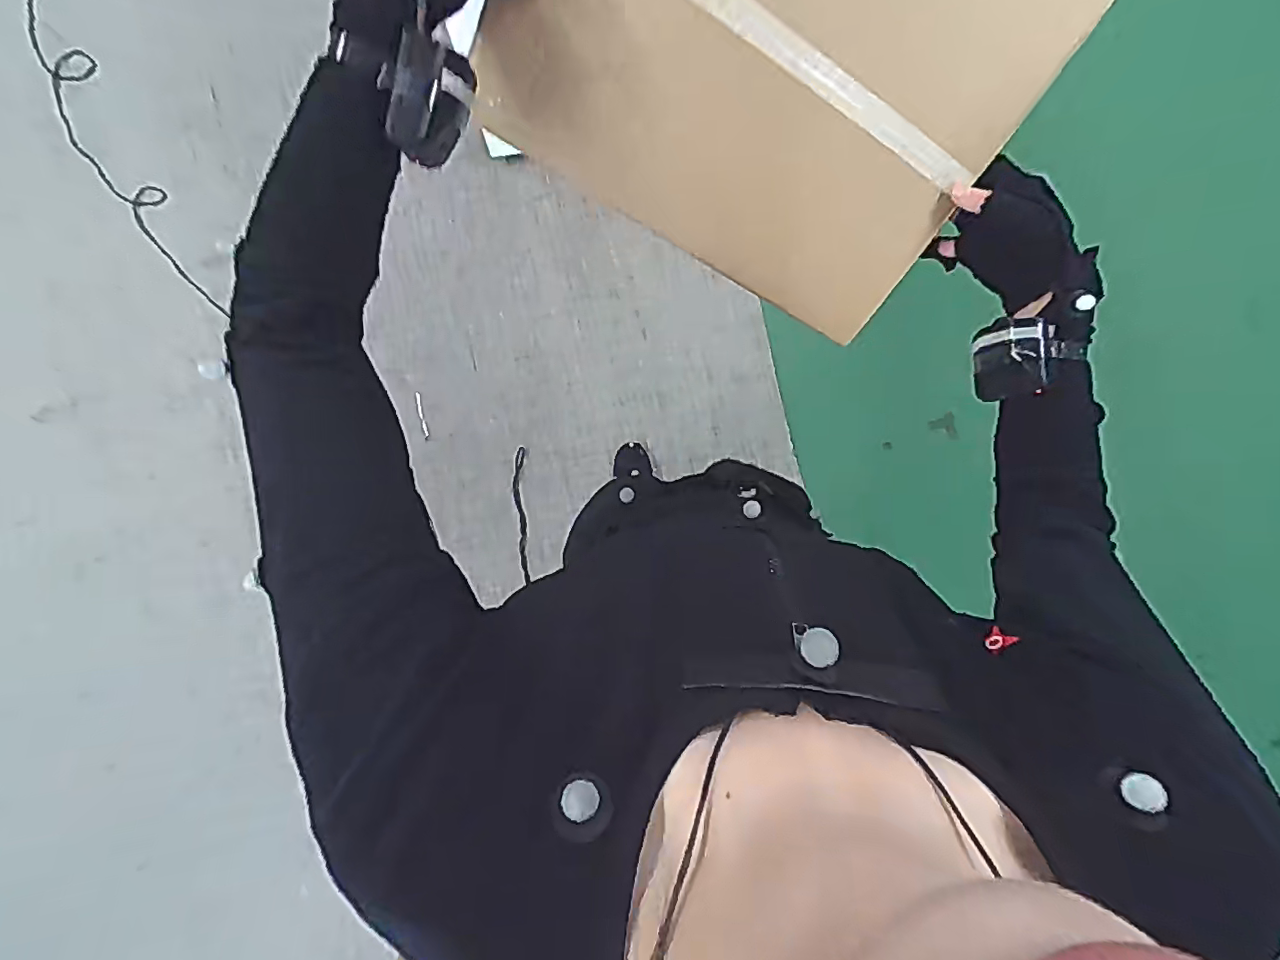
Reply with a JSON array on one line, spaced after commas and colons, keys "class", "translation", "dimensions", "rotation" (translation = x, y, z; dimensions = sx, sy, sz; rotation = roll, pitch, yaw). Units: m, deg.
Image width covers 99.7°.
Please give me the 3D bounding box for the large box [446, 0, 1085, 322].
[{"class": "large box", "translation": [0.093, -0.422, 0.527], "dimensions": [0.408, 0.320, 0.320], "rotation": [25, 119, -16]}]
